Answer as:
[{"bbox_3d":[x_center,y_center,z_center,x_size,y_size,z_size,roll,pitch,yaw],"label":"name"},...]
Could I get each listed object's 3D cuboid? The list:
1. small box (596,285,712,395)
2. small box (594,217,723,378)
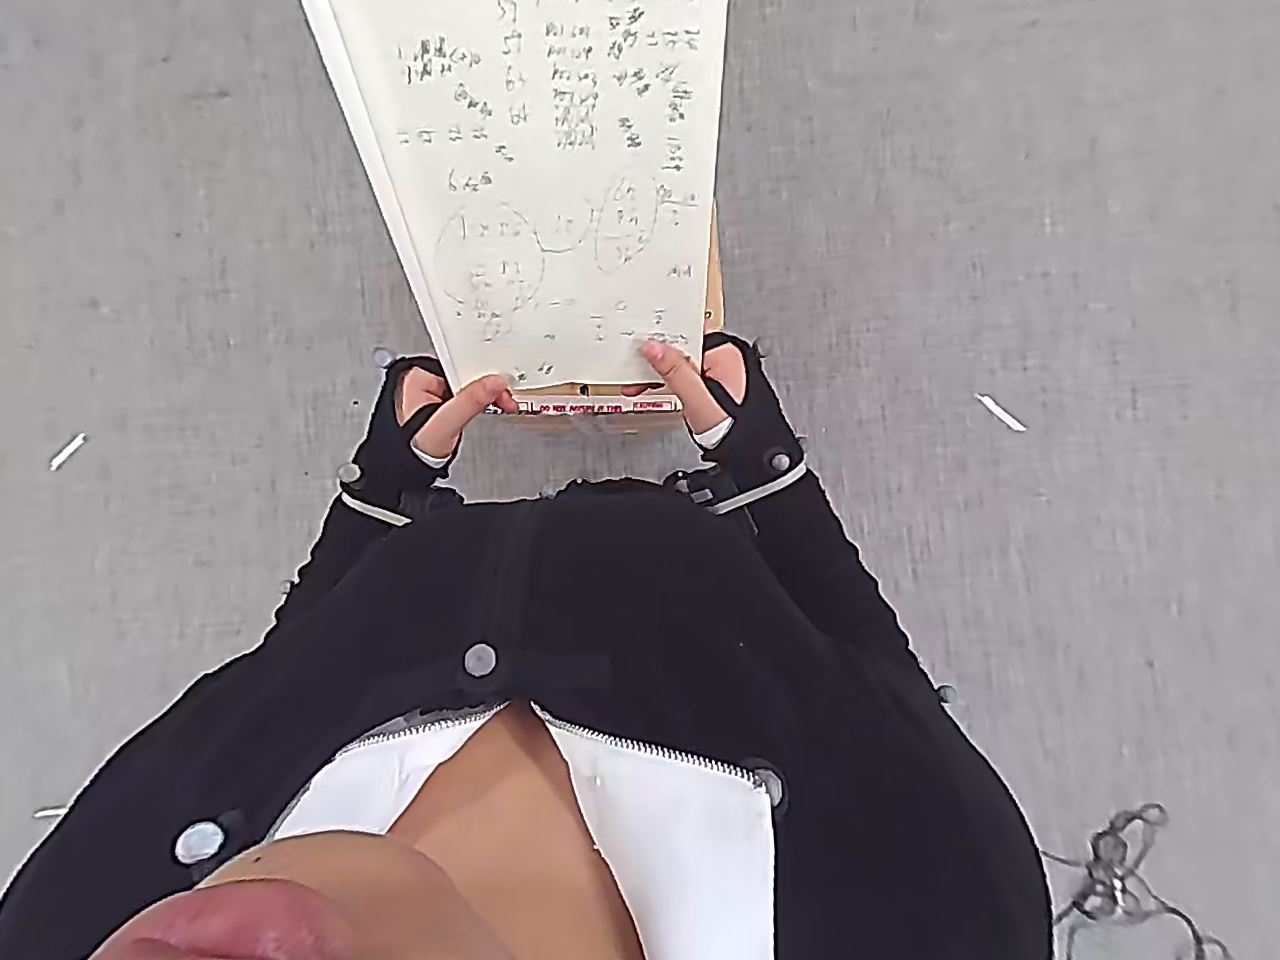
[{"bbox_3d":[0.021,-0.249,0.953,0.179,0.176,0.168,-7,91,0],"label":"small box"},{"bbox_3d":[0.021,-0.256,0.789,0.168,0.176,0.179,-4,90,-2],"label":"small box"}]
